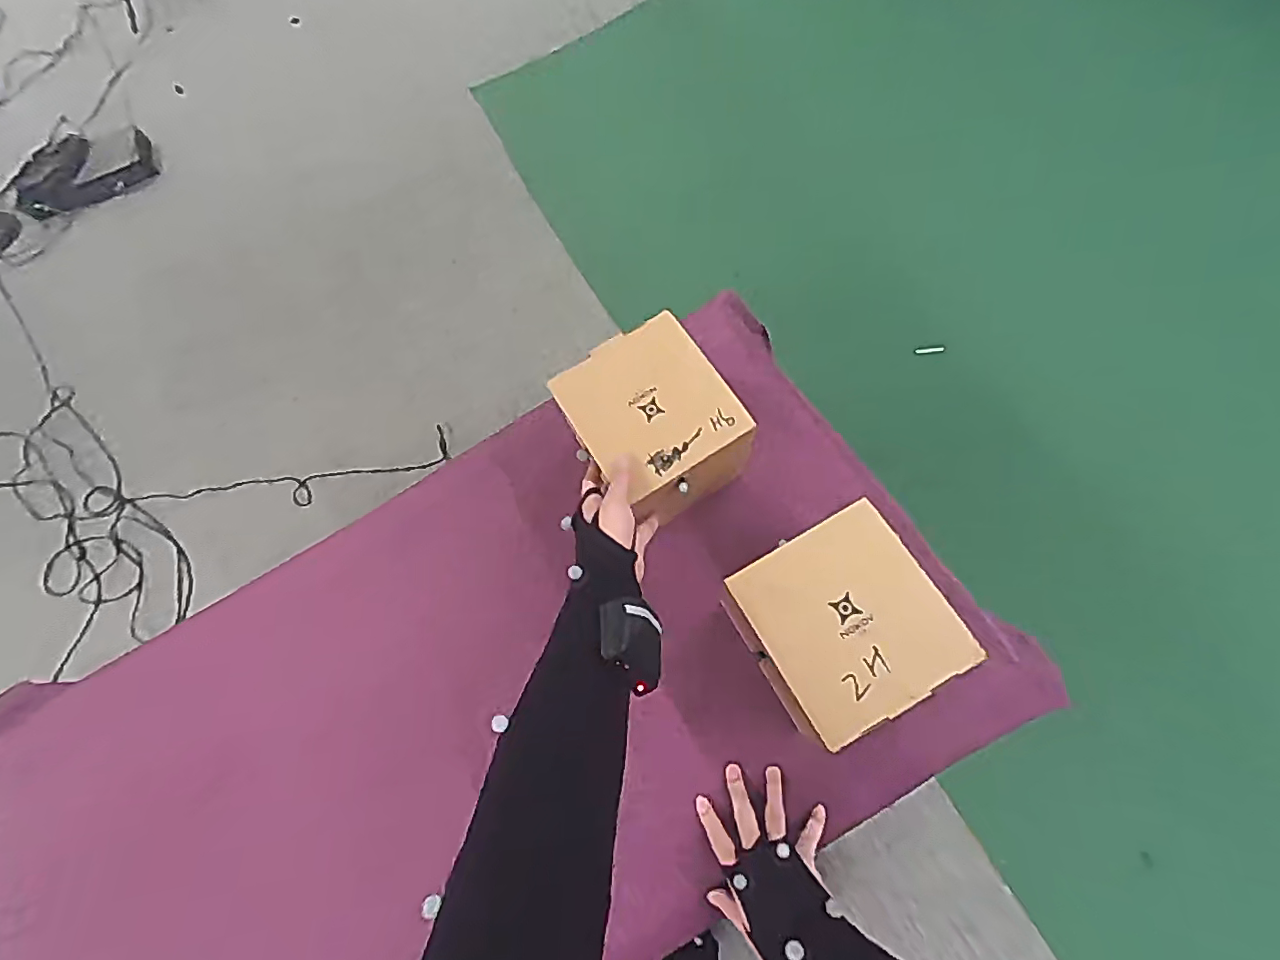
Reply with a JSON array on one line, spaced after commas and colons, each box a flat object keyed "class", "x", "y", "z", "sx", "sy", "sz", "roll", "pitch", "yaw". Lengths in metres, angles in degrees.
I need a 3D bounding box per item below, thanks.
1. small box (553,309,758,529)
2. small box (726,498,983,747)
[{"class": "small box", "x": 0.019, "y": -0.064, "z": 0.662, "sx": 0.168, "sy": 0.176, "sz": 0.179, "roll": -32, "pitch": 73, "yaw": -4}, {"class": "small box", "x": 0.202, "y": 0.150, "z": 0.574, "sx": 0.168, "sy": 0.176, "sz": 0.179, "roll": -29, "pitch": 71, "yaw": -2}]
